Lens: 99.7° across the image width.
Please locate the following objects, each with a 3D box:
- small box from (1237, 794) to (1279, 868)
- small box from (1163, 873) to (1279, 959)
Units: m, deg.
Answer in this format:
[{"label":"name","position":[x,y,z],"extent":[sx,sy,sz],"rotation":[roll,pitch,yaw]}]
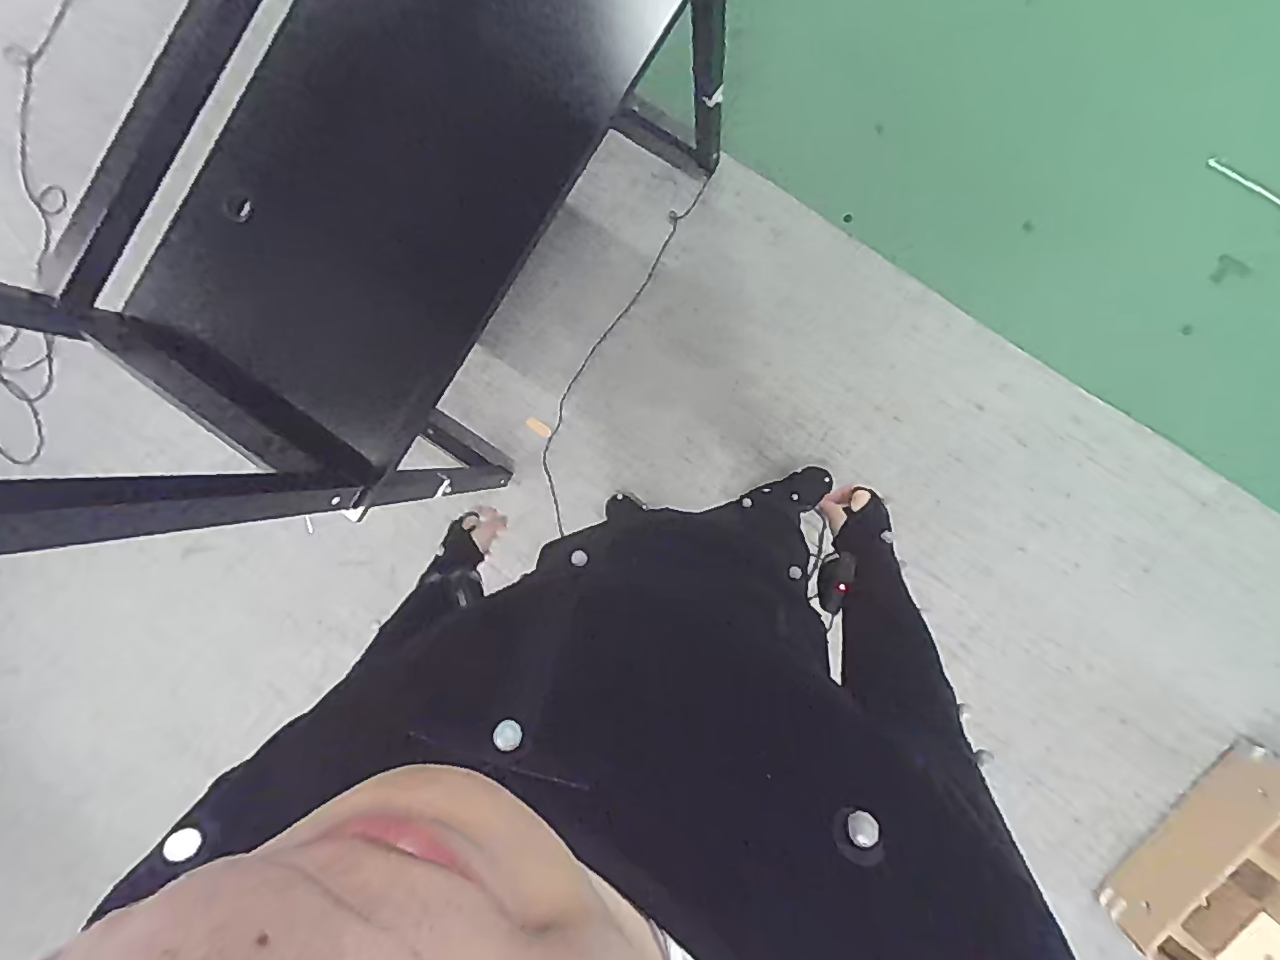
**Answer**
[{"label":"small box","position":[1.666,0.916,1.331],"extent":[0.179,0.176,0.168],"rotation":[37,96,3]},{"label":"small box","position":[1.498,1.141,1.356],"extent":[0.179,0.176,0.168],"rotation":[39,95,4]}]
